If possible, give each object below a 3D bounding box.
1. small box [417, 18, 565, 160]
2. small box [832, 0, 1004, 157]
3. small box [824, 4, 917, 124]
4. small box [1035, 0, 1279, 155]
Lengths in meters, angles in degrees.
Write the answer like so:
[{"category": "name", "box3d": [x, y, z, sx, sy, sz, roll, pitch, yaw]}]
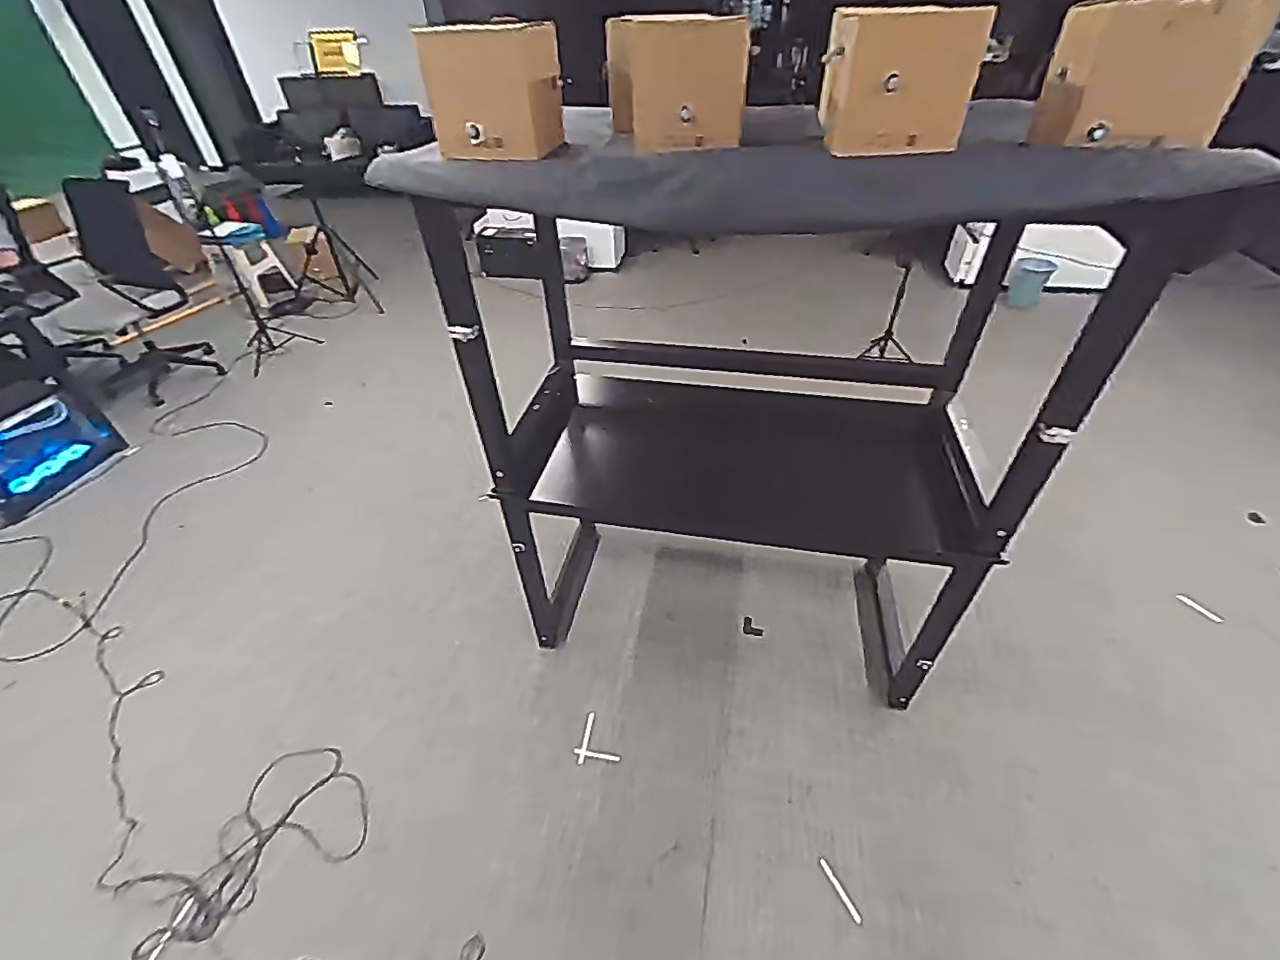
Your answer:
[{"category": "small box", "box3d": [-0.223, -0.626, 0.865, 0.168, 0.176, 0.179, 5, 41, 8]}, {"category": "small box", "box3d": [0.383, -0.576, 0.783, 0.168, 0.176, 0.179, 5, 39, 9]}, {"category": "small box", "box3d": [0.440, -0.755, 0.987, 0.168, 0.176, 0.179, 6, 42, 9]}, {"category": "small box", "box3d": [0.678, -0.544, 0.728, 0.168, 0.176, 0.179, 8, 39, 12]}]
